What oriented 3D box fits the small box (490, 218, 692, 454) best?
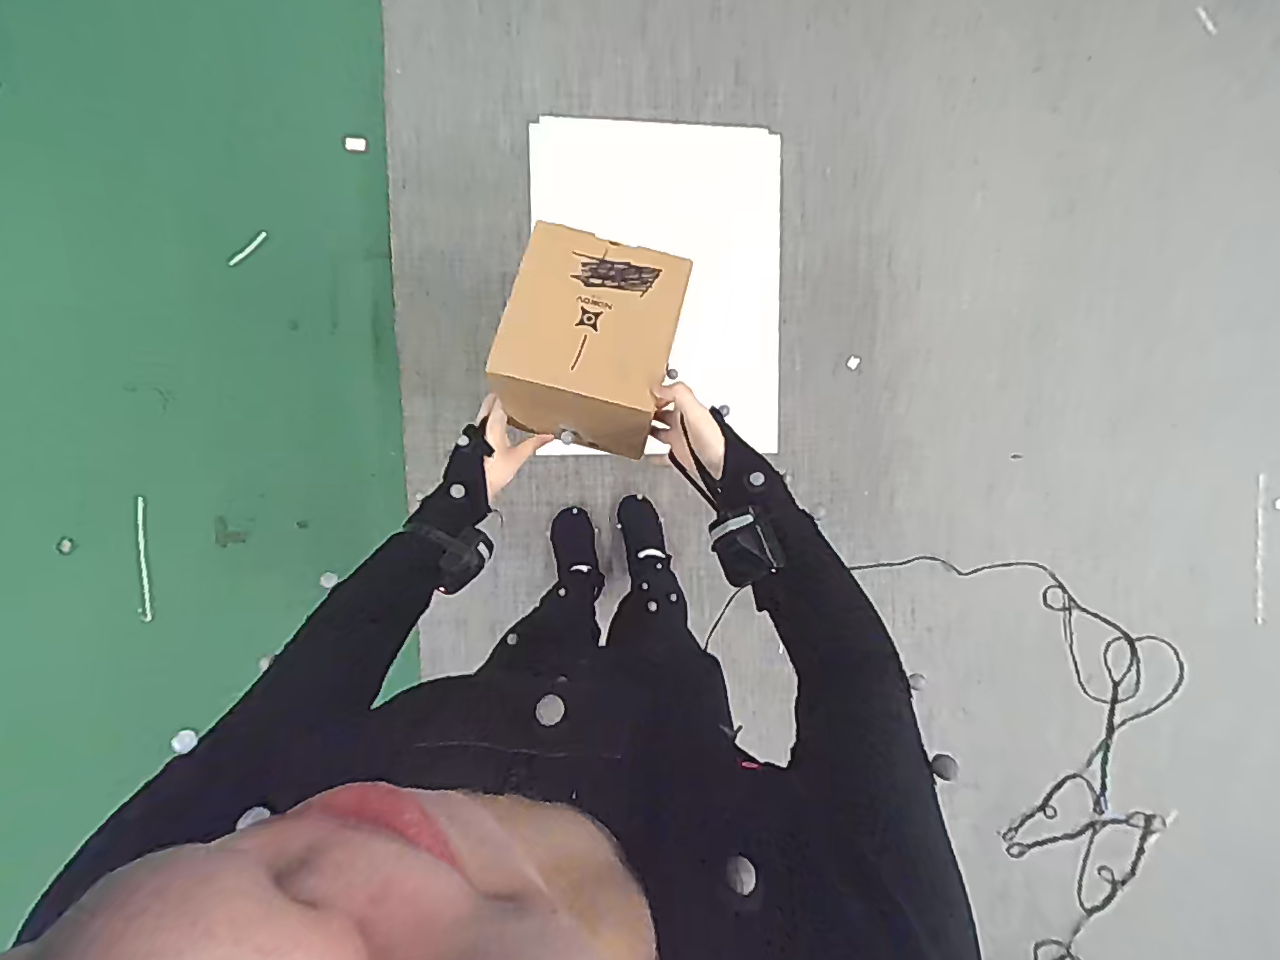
[{"bbox_3d":[-0.050,-0.149,0.612,0.168,0.176,0.179,14,76,0],"label":"small box"}]
